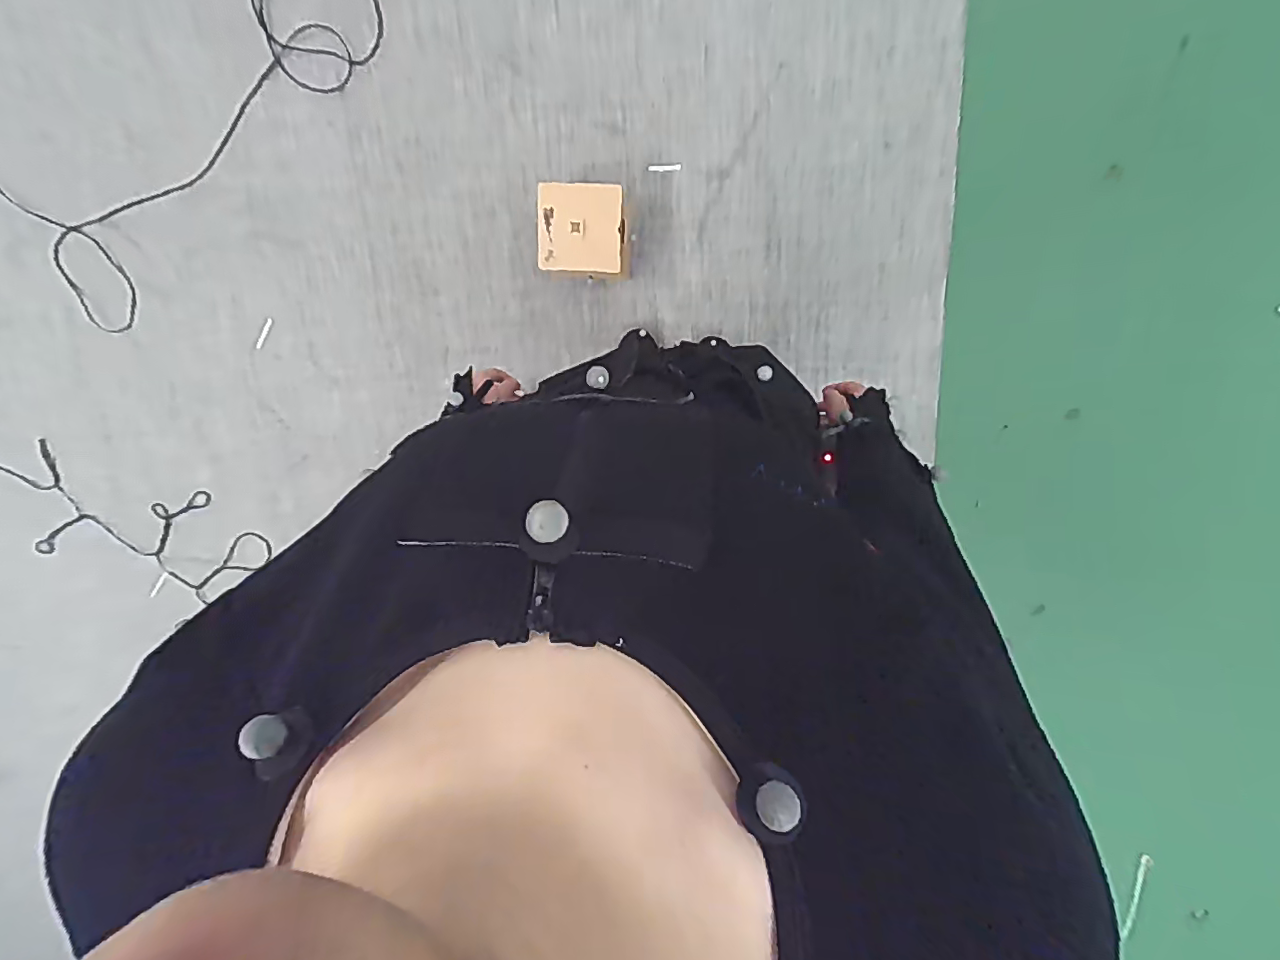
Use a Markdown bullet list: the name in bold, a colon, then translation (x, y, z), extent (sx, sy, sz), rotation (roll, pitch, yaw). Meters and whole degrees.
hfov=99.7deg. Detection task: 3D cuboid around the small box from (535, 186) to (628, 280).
- **small box**: translation (-0.120, -0.529, 1.174), extent (0.179, 0.176, 0.168), rotation (4, 107, 5)
